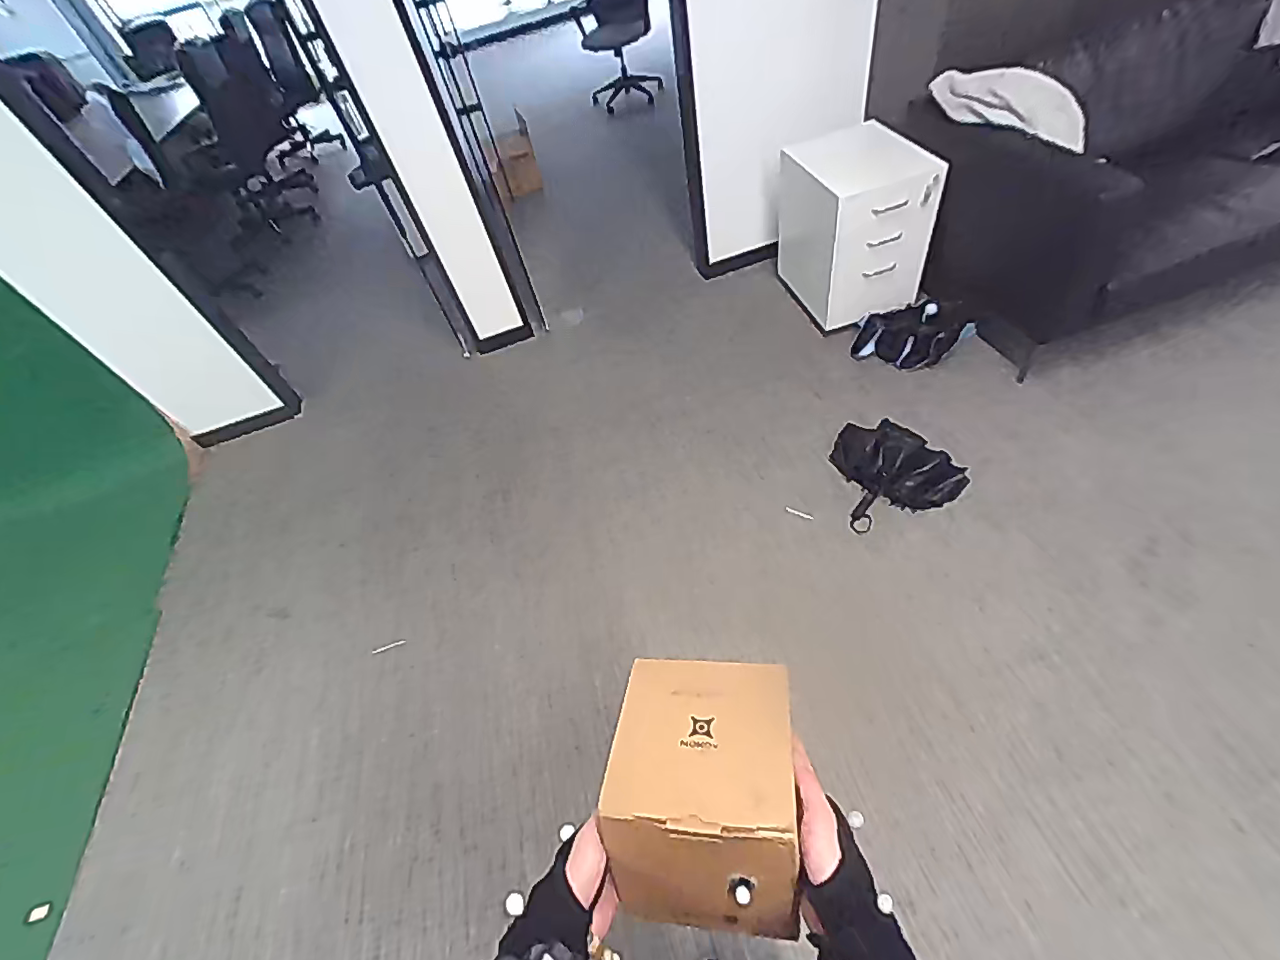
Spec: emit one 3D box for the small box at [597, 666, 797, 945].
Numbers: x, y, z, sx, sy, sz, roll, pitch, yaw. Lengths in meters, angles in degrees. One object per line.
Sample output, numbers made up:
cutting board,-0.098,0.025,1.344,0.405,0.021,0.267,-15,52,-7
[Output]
small box,0.068,0.315,0.541,0.168,0.176,0.179,-1,25,12
